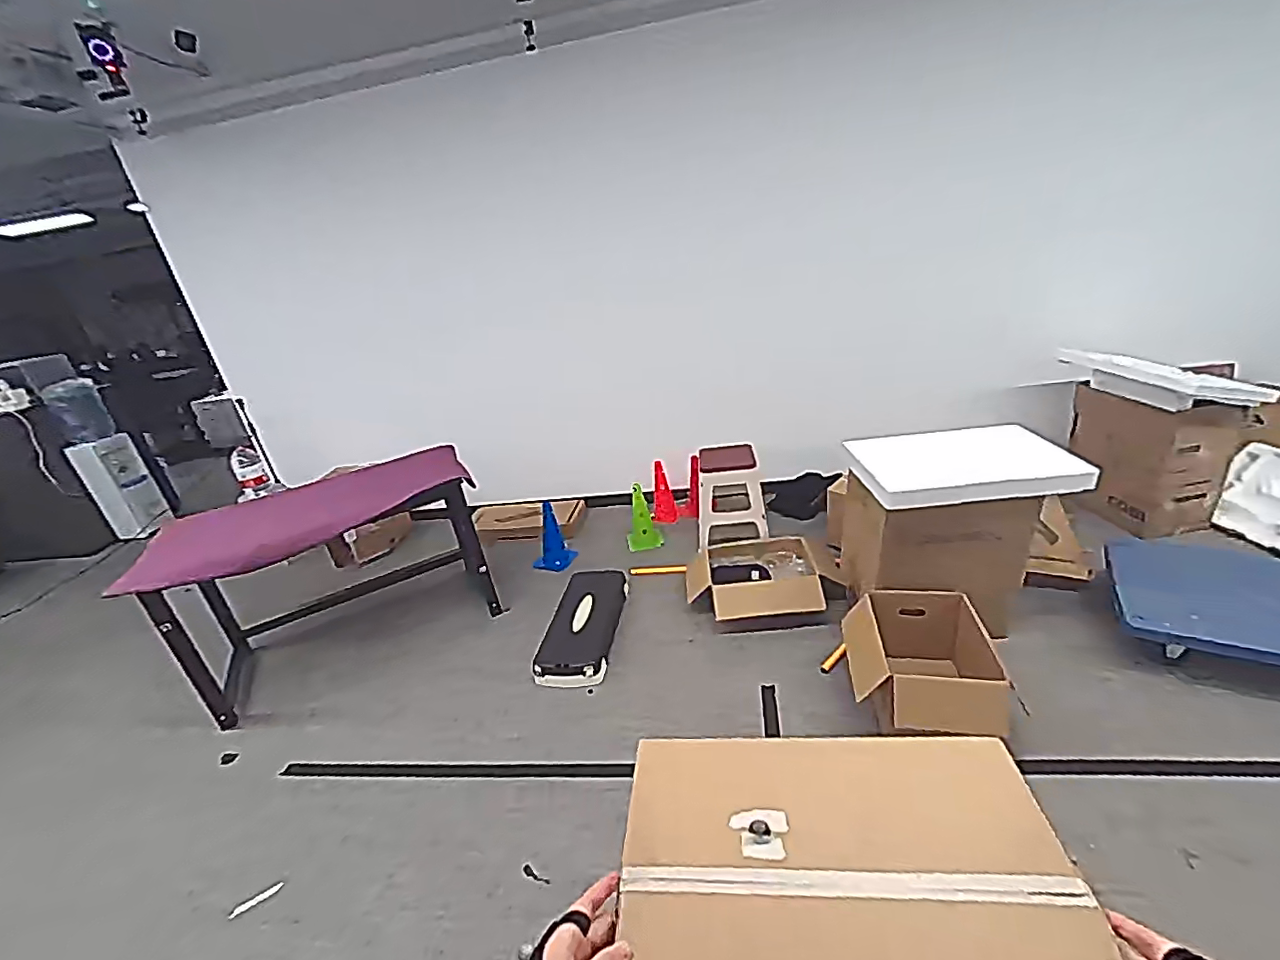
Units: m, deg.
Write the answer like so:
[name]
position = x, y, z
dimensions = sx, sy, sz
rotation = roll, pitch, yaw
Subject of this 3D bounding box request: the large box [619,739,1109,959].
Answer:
[large box]
position = 0.206, 0.512, 0.561
dimensions = 0.408, 0.320, 0.320
rotation = -6, 25, 9
